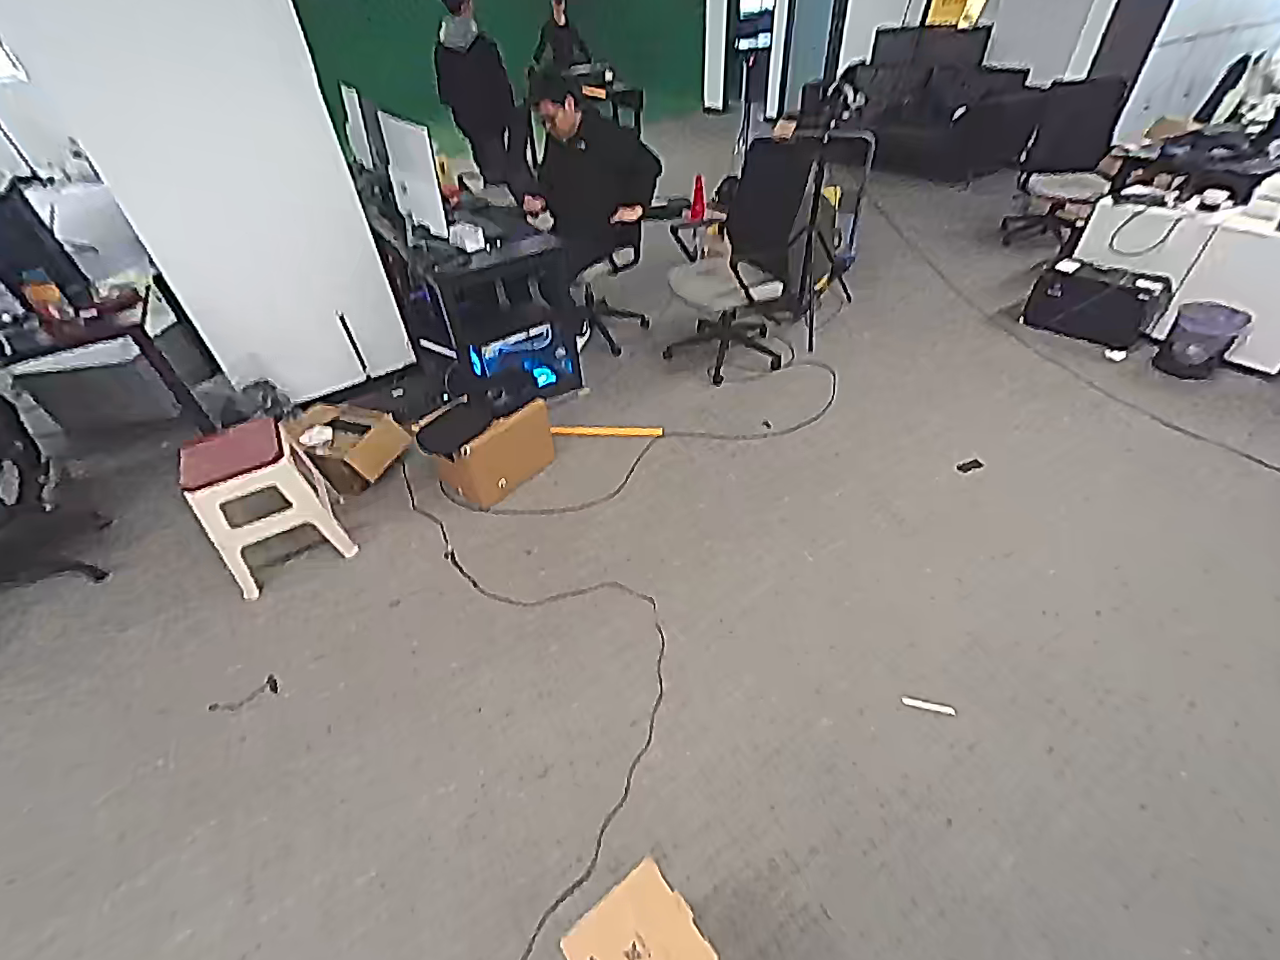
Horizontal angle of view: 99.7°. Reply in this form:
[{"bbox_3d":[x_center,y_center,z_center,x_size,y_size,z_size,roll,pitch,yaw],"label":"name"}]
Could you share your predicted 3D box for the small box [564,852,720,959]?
[{"bbox_3d":[0.002,0.738,0.846,0.179,0.176,0.168,-29,48,-27],"label":"small box"}]
